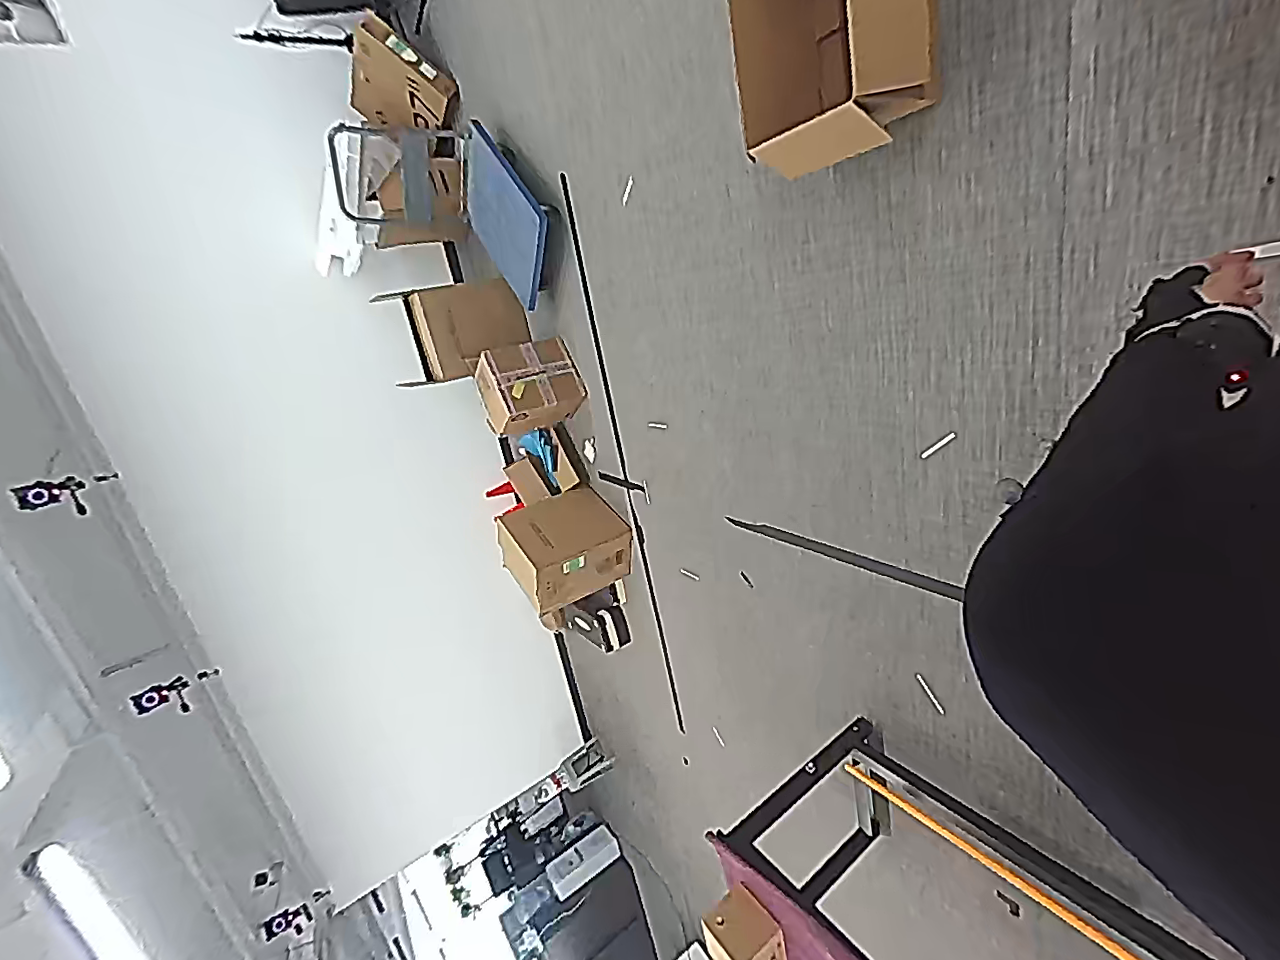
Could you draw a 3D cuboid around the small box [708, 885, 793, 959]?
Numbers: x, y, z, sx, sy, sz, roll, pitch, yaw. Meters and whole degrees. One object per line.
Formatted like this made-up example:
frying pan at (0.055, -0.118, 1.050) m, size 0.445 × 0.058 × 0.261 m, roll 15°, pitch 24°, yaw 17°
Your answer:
small box at (0.334, 1.374, 1.626) m, size 0.179 × 0.176 × 0.168 m, roll 18°, pitch 126°, yaw 54°
